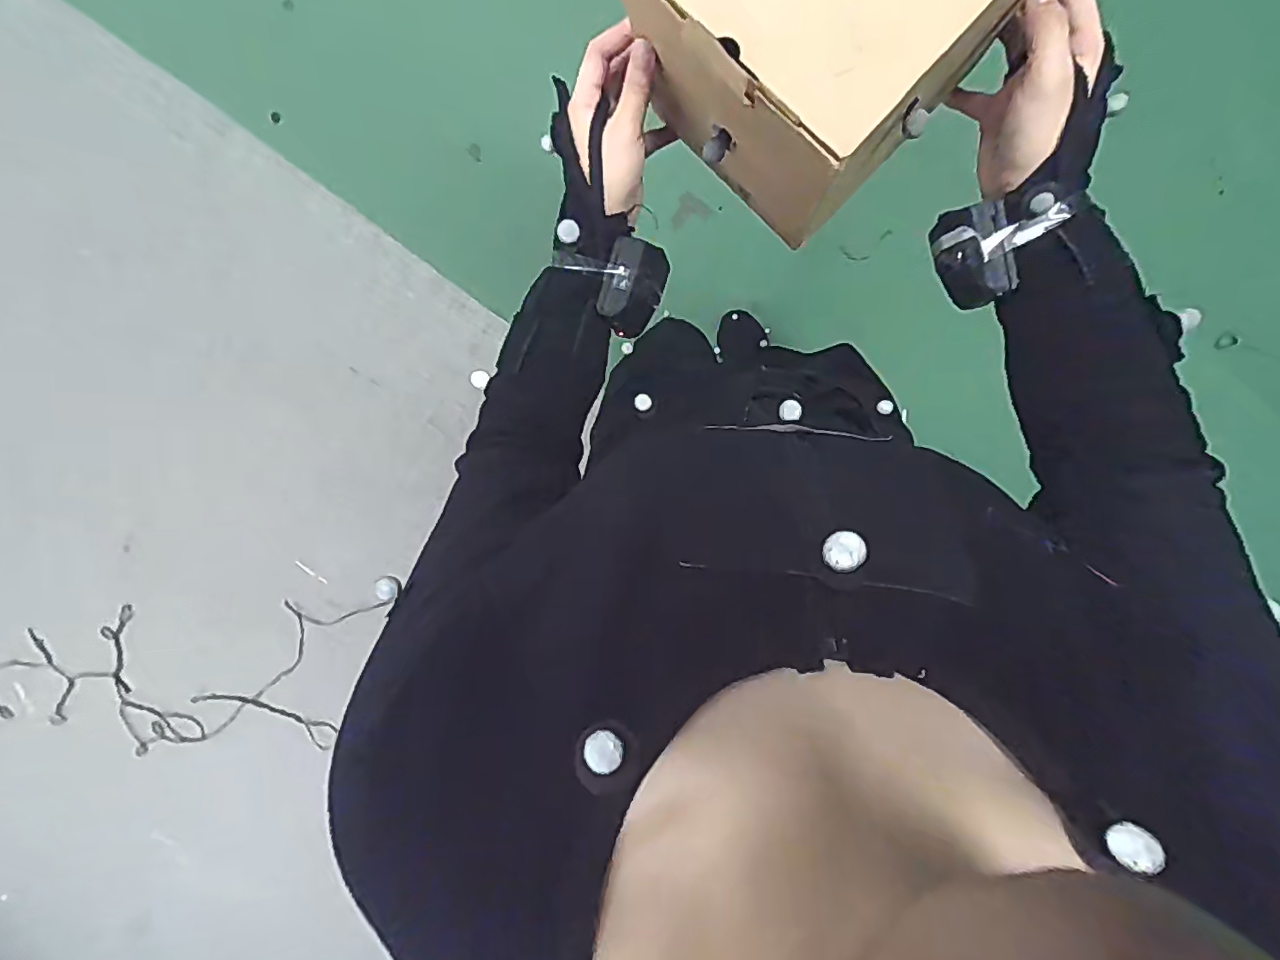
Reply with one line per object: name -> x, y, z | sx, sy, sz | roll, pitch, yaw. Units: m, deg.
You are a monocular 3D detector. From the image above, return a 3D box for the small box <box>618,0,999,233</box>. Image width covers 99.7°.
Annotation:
small box -> 0.110, -0.294, 0.343 | 0.168, 0.176, 0.179 | 44, 103, 1
